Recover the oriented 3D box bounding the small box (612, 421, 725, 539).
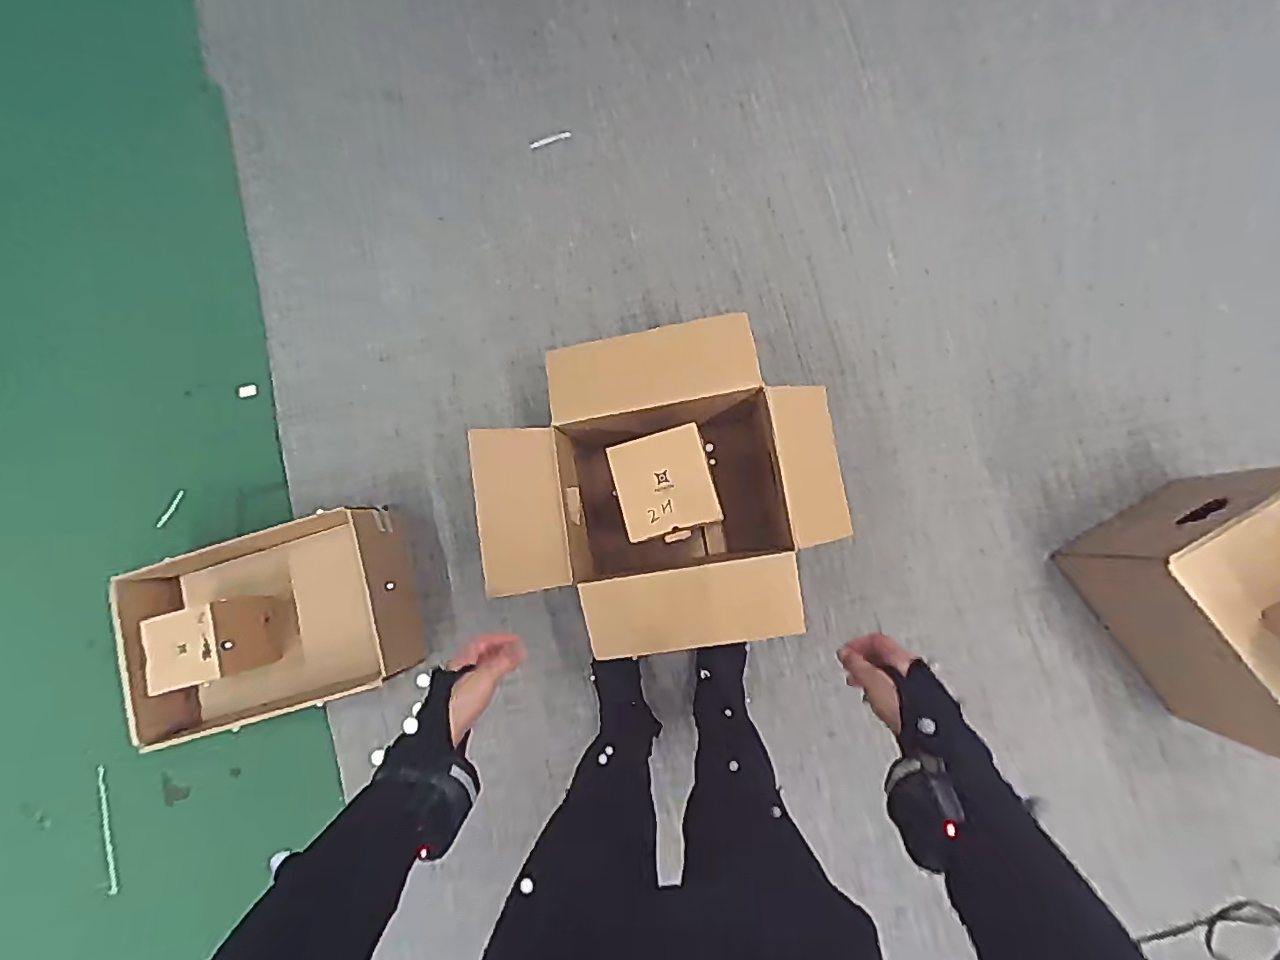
[{"bbox_3d":[0.059,0.008,1.023,0.168,0.176,0.179,-17,82,8],"label":"small box"}]

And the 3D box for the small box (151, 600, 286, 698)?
[{"bbox_3d":[-0.972,0.385,1.256,0.179,0.176,0.168,-16,81,5],"label":"small box"}]
